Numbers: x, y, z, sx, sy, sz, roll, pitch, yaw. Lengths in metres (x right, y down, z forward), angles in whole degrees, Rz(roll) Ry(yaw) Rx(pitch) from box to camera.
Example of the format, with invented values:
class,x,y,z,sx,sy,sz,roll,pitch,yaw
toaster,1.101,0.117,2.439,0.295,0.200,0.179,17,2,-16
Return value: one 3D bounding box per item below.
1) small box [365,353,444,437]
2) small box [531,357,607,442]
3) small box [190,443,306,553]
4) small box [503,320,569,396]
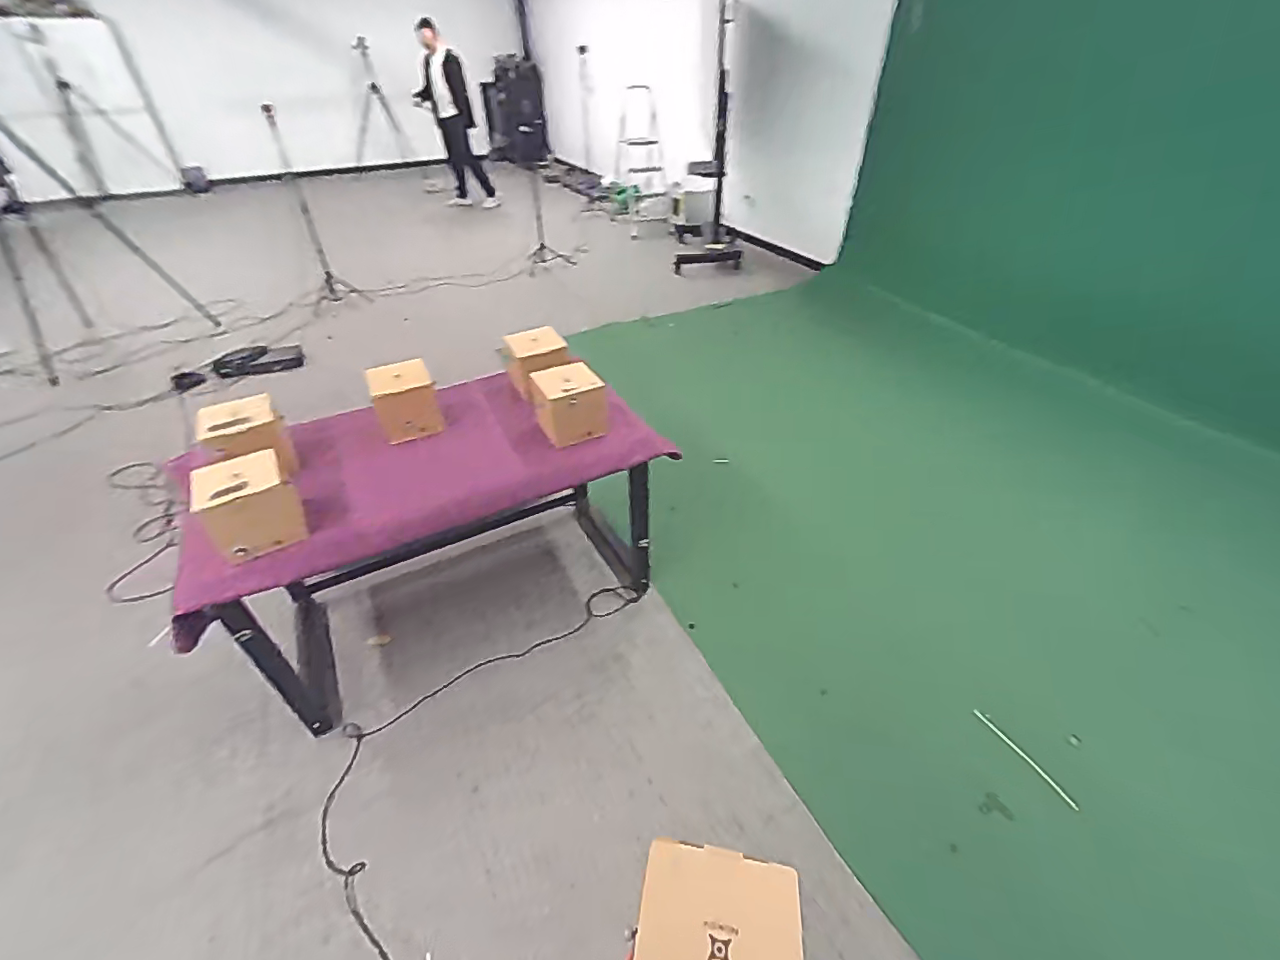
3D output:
class,x,y,z,sx,sy,sz,roll,pitch,yaw
small box,-0.703,-0.254,1.616,0.168,0.176,0.179,-19,45,-21
small box,-0.208,-0.238,1.590,0.168,0.176,0.179,-19,42,-20
small box,-0.902,0.046,1.253,0.168,0.176,0.179,-22,43,-25
small box,-0.337,-0.402,1.784,0.168,0.176,0.179,-20,45,-19
